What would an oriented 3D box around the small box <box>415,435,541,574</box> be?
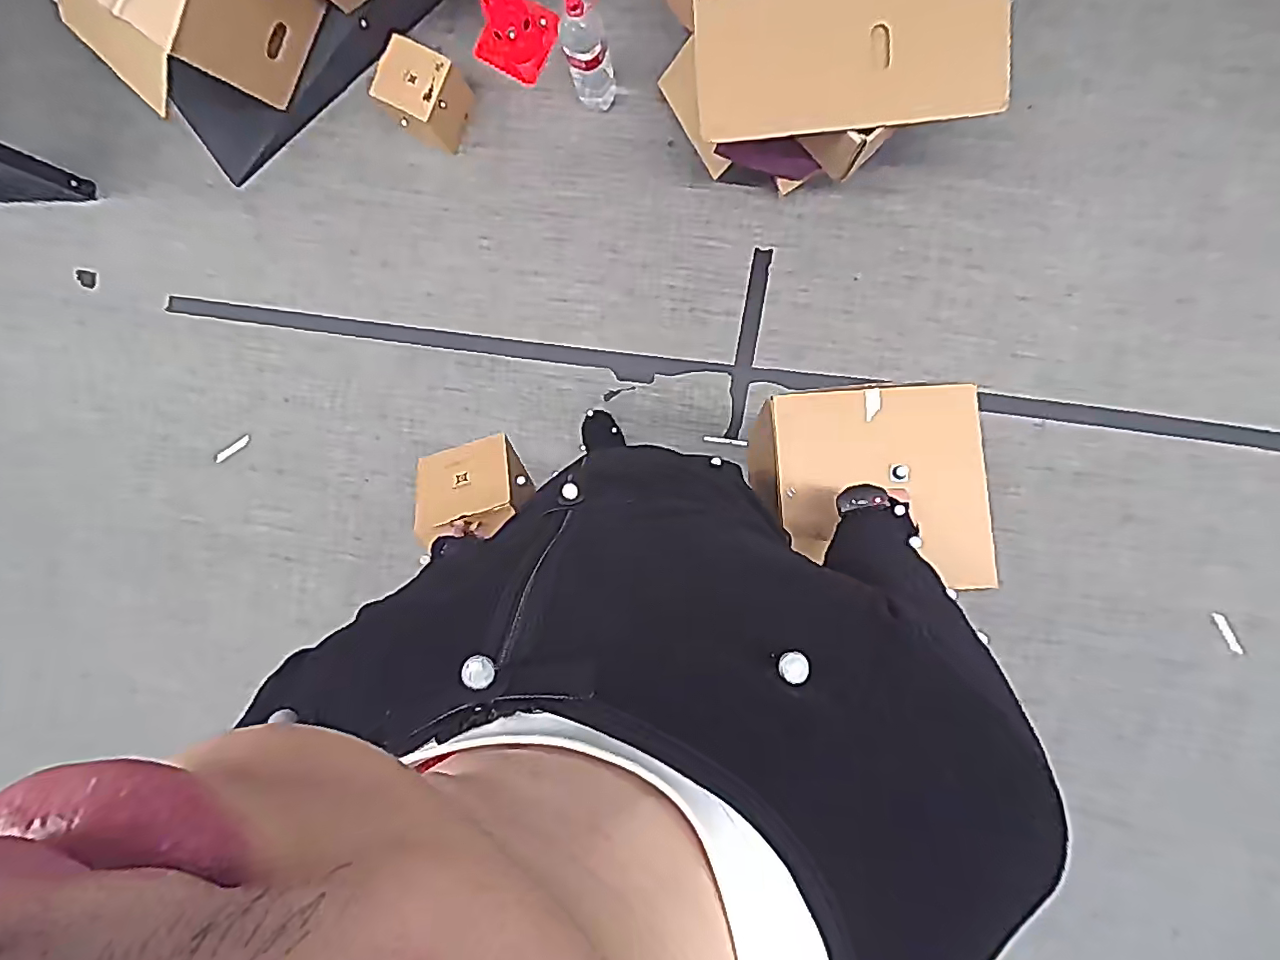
[{"bbox_3d":[-0.289,0.054,0.988,0.168,0.176,0.179,-17,50,0],"label":"small box"}]
